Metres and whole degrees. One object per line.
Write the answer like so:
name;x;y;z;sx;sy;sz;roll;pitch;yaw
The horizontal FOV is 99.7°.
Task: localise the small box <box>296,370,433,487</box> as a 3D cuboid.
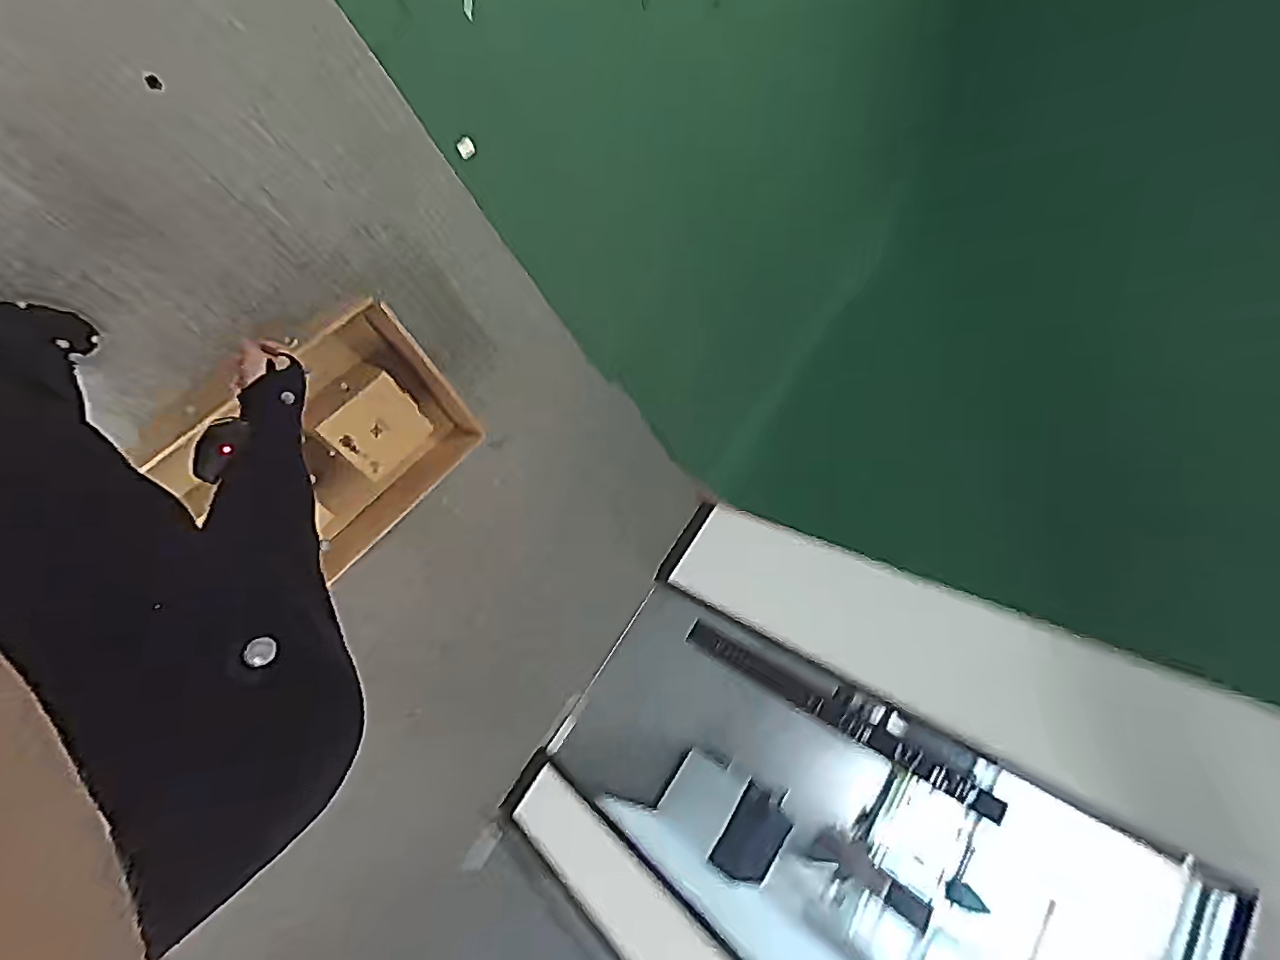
small box;-0.594;-0.118;1.163;0.179;0.176;0.168;-49;134;-22
